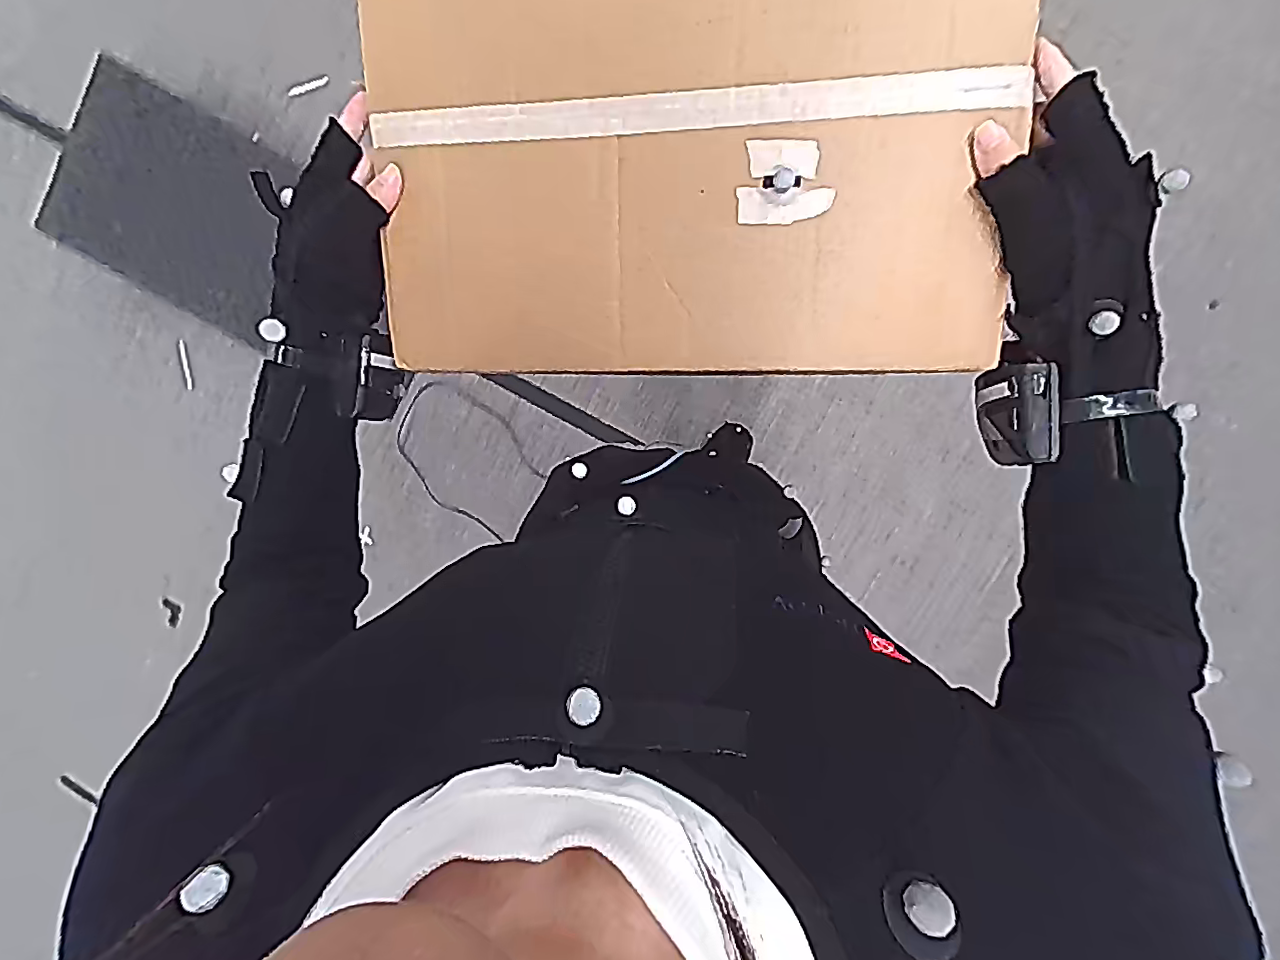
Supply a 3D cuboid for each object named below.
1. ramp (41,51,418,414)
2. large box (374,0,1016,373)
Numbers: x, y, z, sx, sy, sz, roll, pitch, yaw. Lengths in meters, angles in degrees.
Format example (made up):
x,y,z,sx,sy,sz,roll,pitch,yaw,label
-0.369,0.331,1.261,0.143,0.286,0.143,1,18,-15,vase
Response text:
x,y,z,sx,sy,sz,roll,pitch,yaw,label
-1.014,-0.630,1.442,0.991,0.206,0.509,29,97,3,ramp
0.039,-0.263,0.493,0.408,0.320,0.320,0,102,7,large box
